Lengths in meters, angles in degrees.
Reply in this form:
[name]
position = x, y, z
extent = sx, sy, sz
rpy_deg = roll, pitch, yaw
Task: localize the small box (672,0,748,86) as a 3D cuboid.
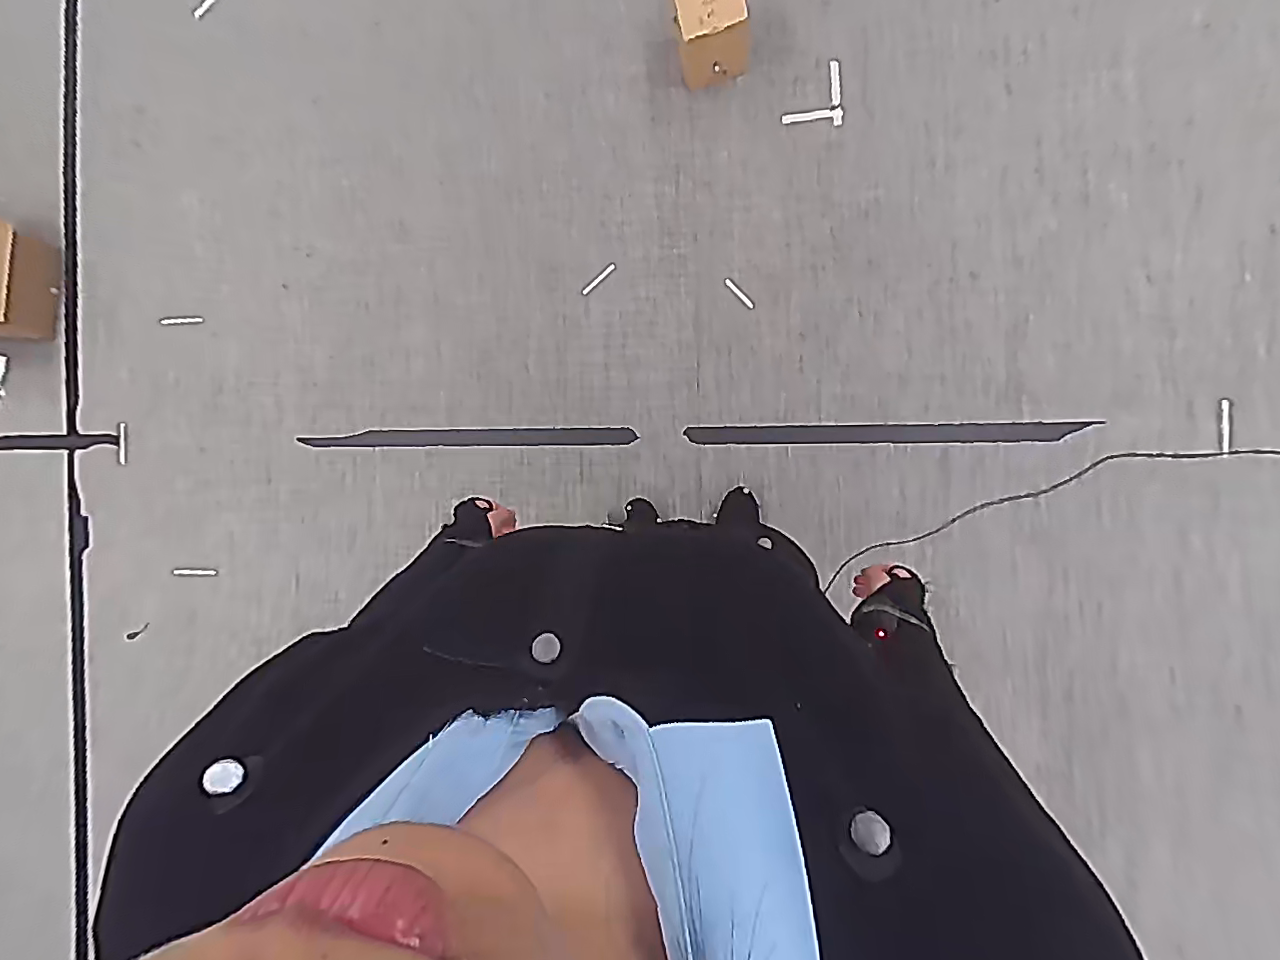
[small box]
position = 0.178, -1.188, 1.411
extent = 0.168, 0.176, 0.179
rpy_deg = -13, 88, 8
